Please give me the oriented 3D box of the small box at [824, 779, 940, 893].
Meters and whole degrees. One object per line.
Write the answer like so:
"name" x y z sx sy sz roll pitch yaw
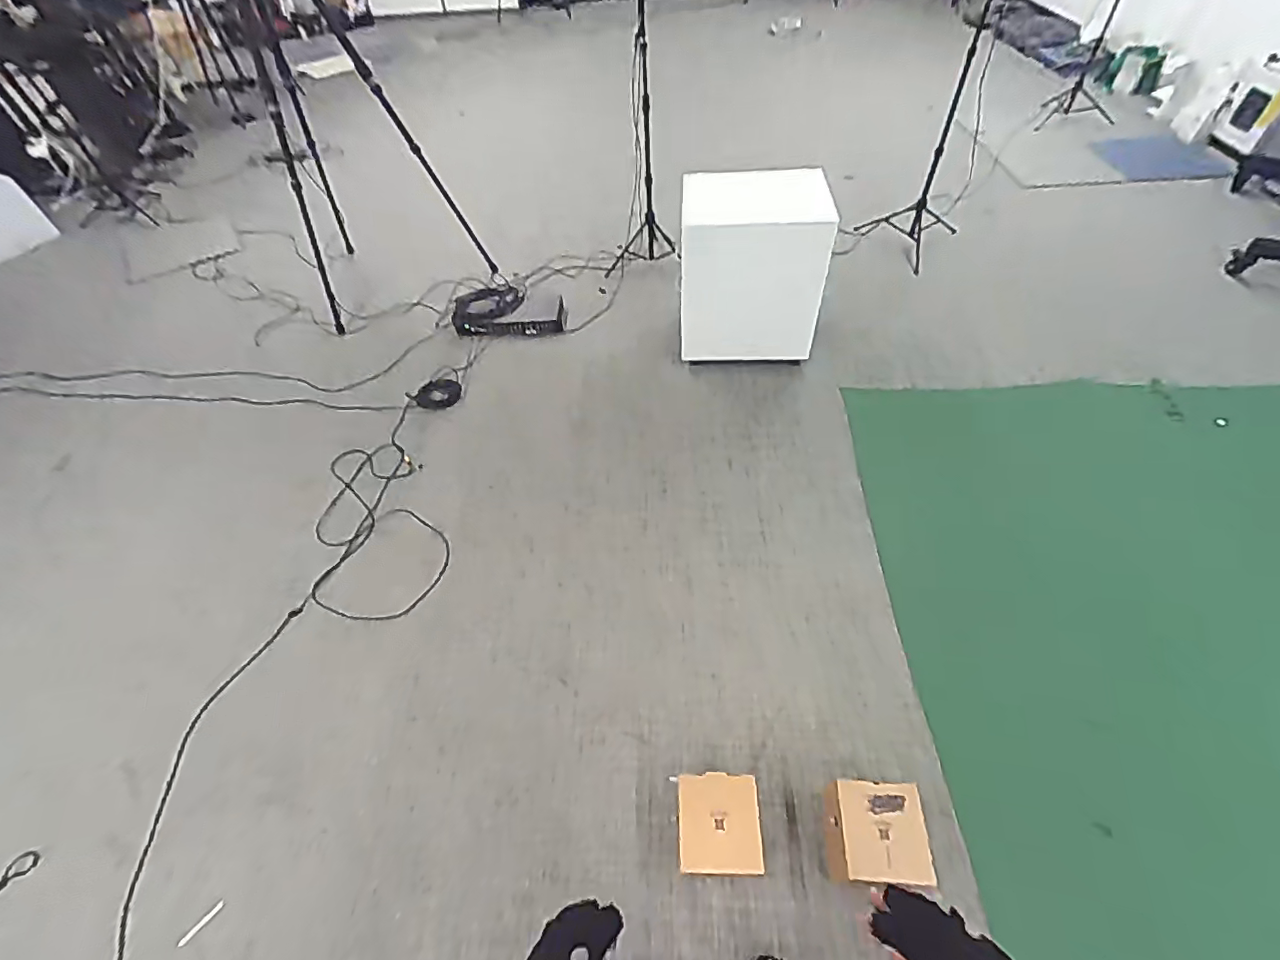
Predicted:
"small box" 0.495 0.751 1.137 0.168 0.176 0.179 2 52 6

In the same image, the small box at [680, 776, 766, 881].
"small box" 0.170 0.751 1.161 0.168 0.176 0.179 -1 50 3
